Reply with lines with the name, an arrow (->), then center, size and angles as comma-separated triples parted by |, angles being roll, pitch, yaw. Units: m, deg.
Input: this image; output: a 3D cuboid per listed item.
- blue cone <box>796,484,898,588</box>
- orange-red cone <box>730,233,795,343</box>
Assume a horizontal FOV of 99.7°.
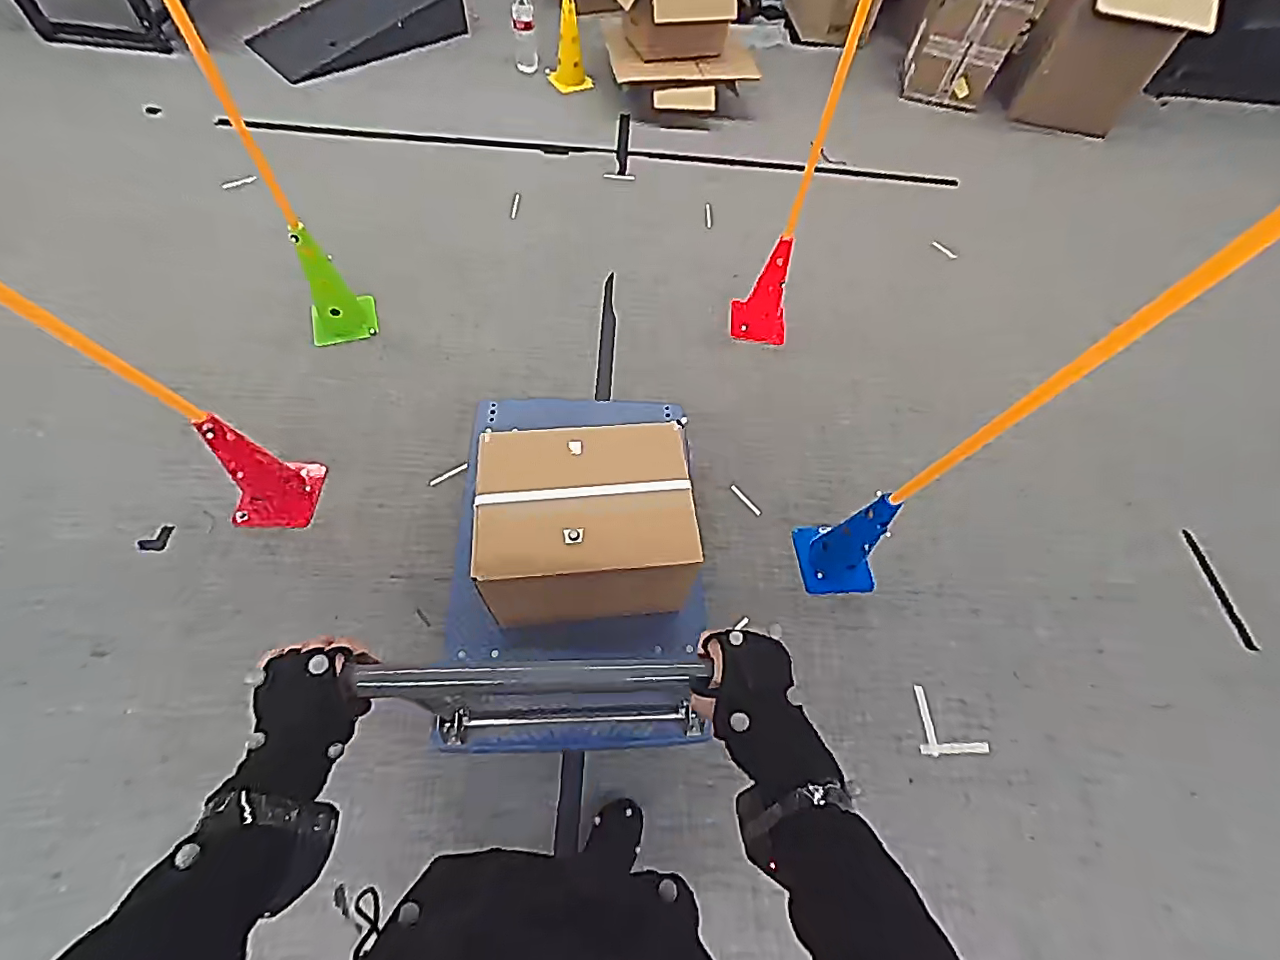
blue cone -> 0.560, 0.129, 1.385 | 0.193, 0.380, 0.192 | 0, 59, -6
orange-red cone -> 0.447, -0.665, 1.819 | 0.199, 0.360, 0.198 | 9, 60, -1
